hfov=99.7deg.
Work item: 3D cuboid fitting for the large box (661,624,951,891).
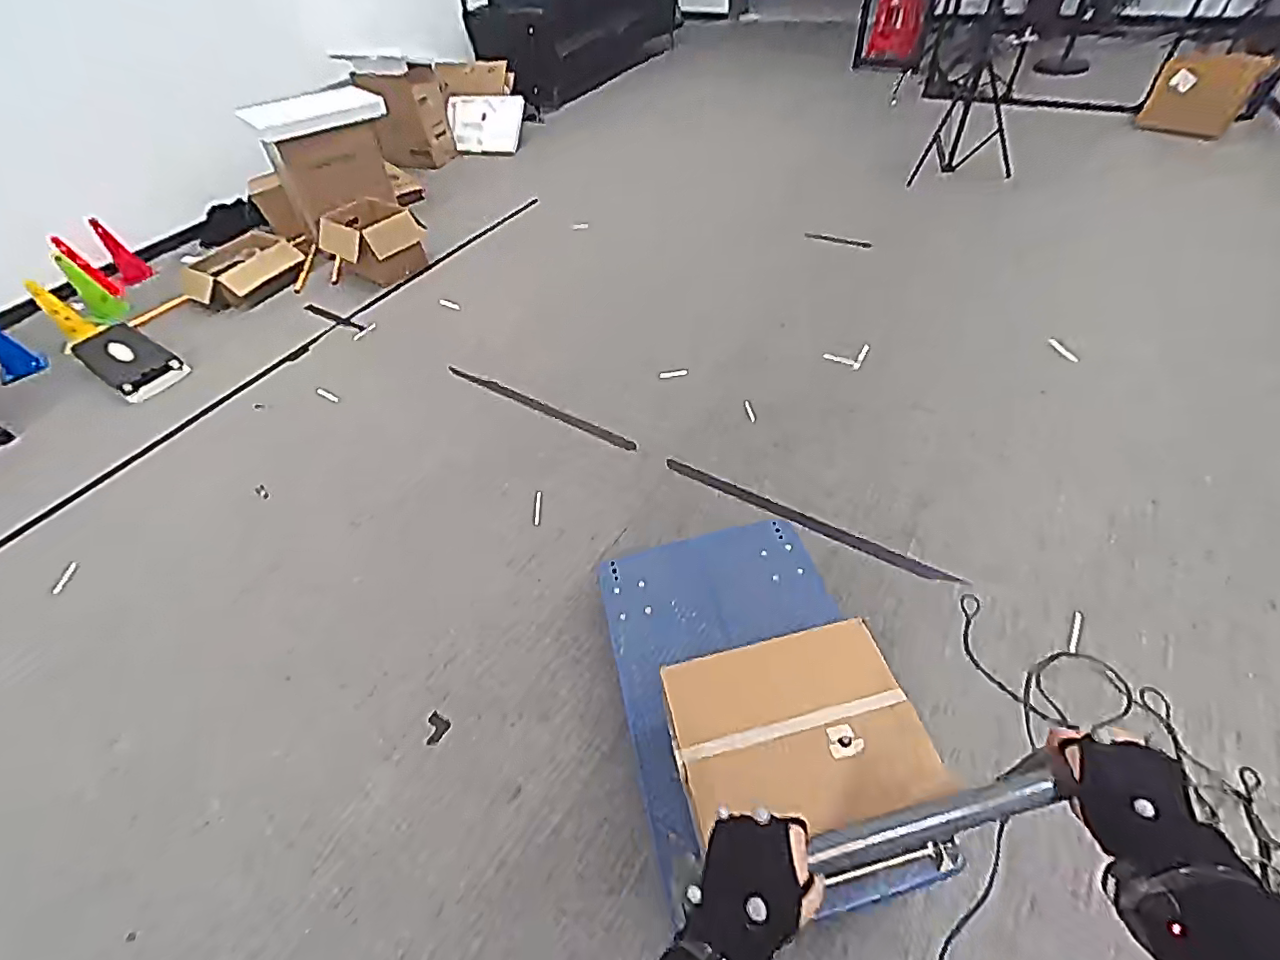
[{"bbox_3d":[0.274,0.531,1.034,0.408,0.320,0.320,-13,50,-6],"label":"large box"}]
